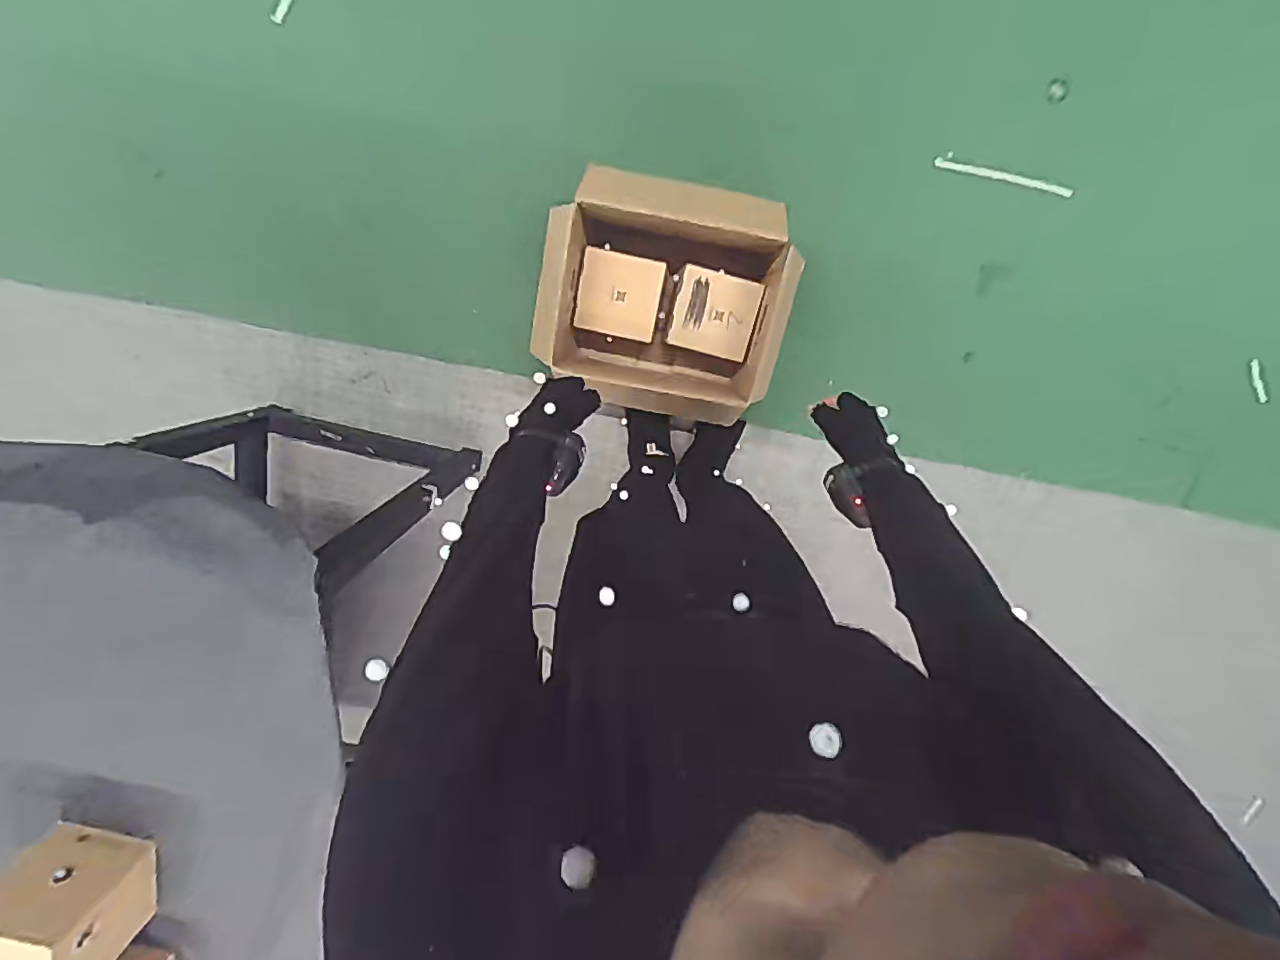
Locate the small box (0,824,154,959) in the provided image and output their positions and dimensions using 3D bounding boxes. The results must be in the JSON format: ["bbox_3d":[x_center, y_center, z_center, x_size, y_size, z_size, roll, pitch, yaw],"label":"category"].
[{"bbox_3d":[-0.931,0.697,0.867,0.168,0.176,0.179,15,107,-1],"label":"small box"}]
